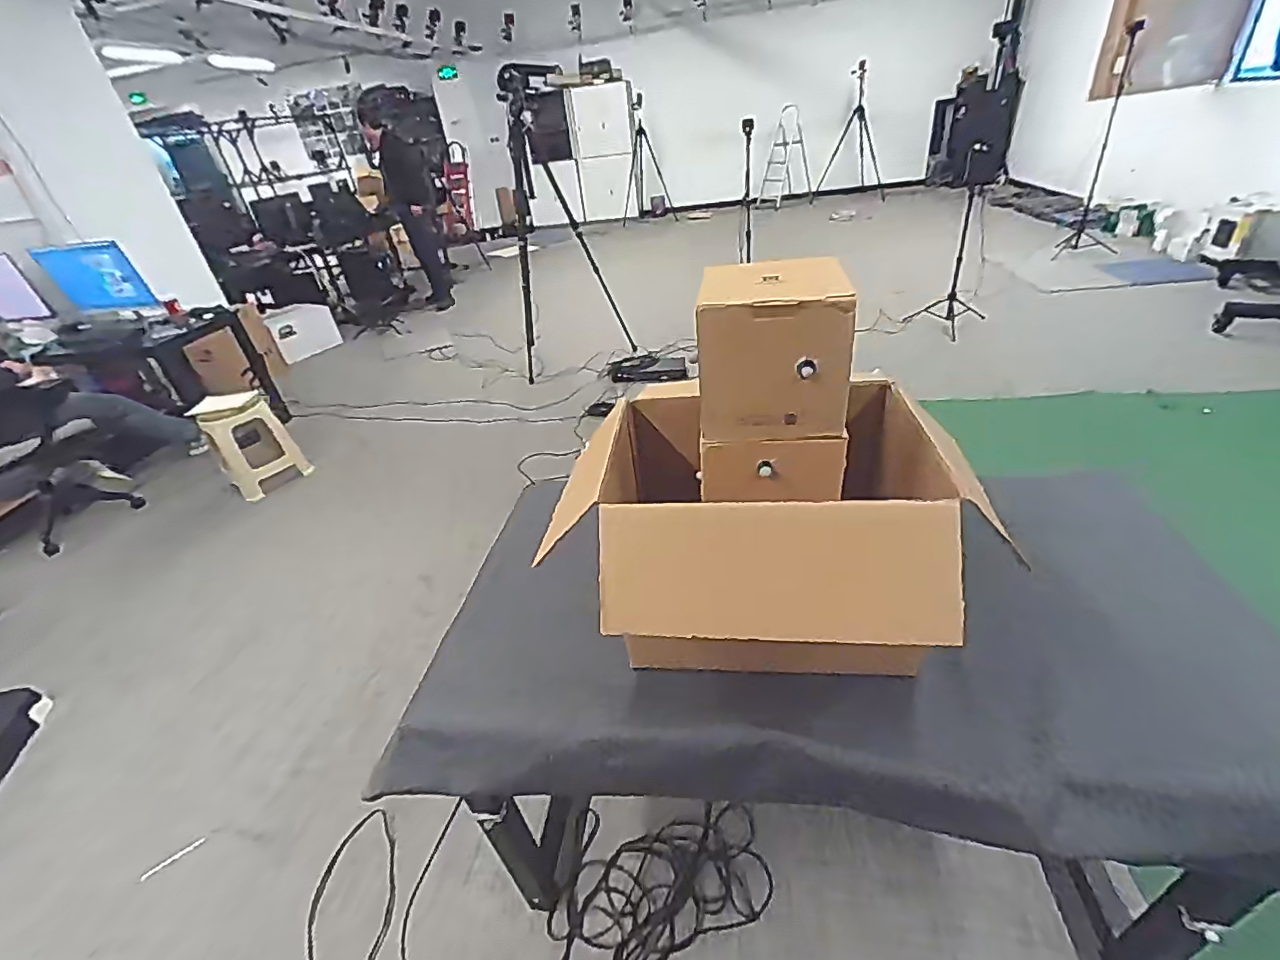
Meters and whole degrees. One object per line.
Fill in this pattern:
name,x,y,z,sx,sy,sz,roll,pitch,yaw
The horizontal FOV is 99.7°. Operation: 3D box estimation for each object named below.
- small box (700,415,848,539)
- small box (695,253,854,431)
small box,0.176,-0.030,0.753,0.179,0.176,0.168,-1,34,9
small box,0.159,-0.169,0.670,0.168,0.176,0.179,0,33,10
